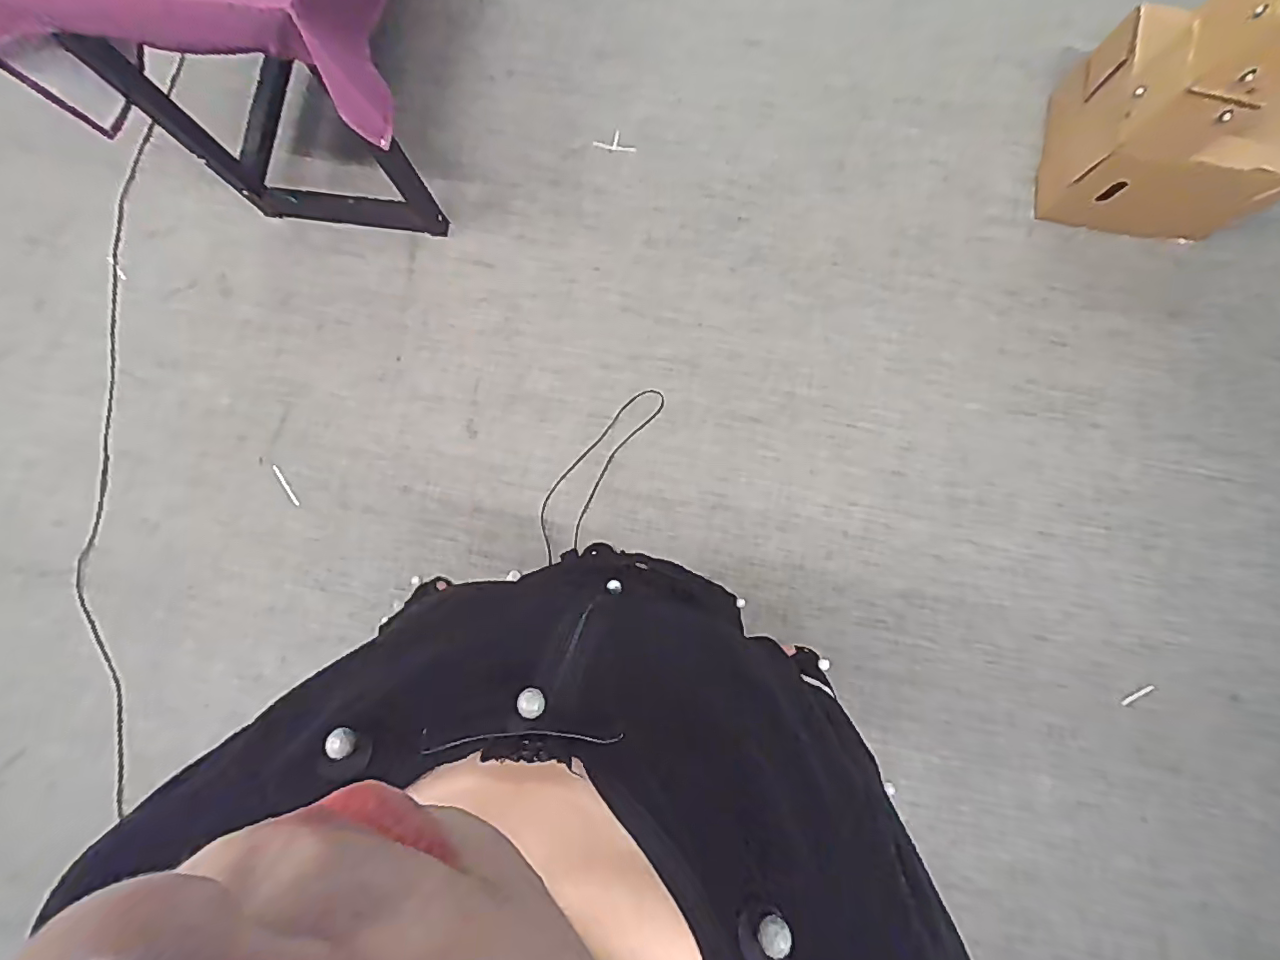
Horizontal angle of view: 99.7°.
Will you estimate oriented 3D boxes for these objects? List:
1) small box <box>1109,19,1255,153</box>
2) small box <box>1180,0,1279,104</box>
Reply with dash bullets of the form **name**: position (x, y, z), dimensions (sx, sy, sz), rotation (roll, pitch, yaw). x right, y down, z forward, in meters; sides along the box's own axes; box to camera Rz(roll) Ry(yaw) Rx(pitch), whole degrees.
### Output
- **small box**: position (1.232, -0.884, 1.229), dimensions (0.179, 0.176, 0.168), rotation (13, 84, 2)
- **small box**: position (1.233, -0.898, 1.067), dimensions (0.168, 0.176, 0.179), rotation (14, 85, 1)
